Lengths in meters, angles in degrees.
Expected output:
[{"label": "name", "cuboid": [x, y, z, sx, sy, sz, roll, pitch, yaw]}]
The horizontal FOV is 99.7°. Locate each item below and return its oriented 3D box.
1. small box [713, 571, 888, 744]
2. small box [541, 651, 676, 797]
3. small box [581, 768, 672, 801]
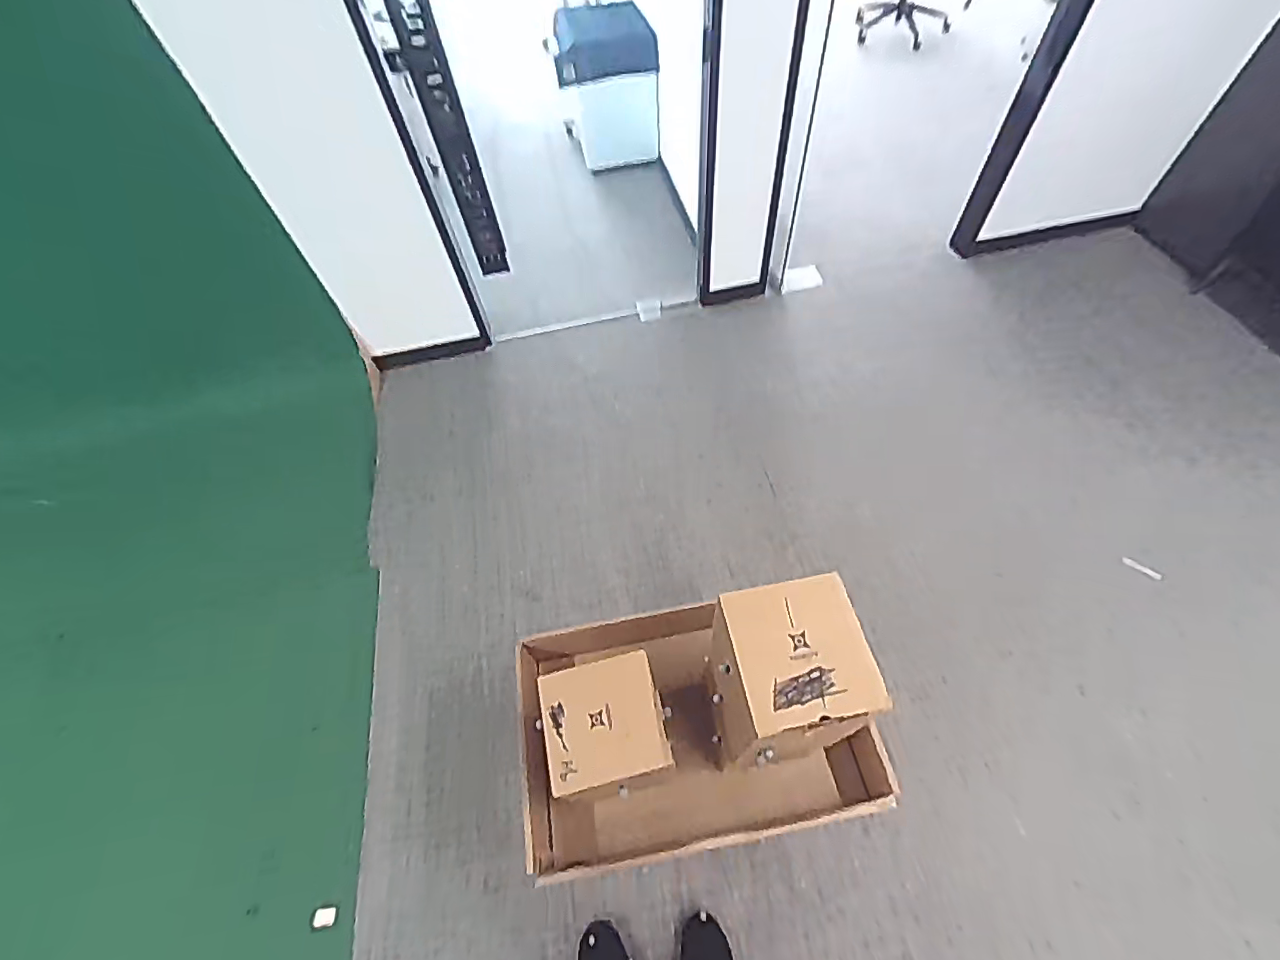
[{"label": "small box", "cuboid": [0.200, 0.248, 0.733, 0.168, 0.176, 0.179, -10, 56, -3]}, {"label": "small box", "cuboid": [-0.049, 0.389, 0.856, 0.179, 0.176, 0.168, -12, 57, -5]}, {"label": "small box", "cuboid": [-0.041, 0.478, 0.993, 0.179, 0.176, 0.168, -10, 57, -4]}]
